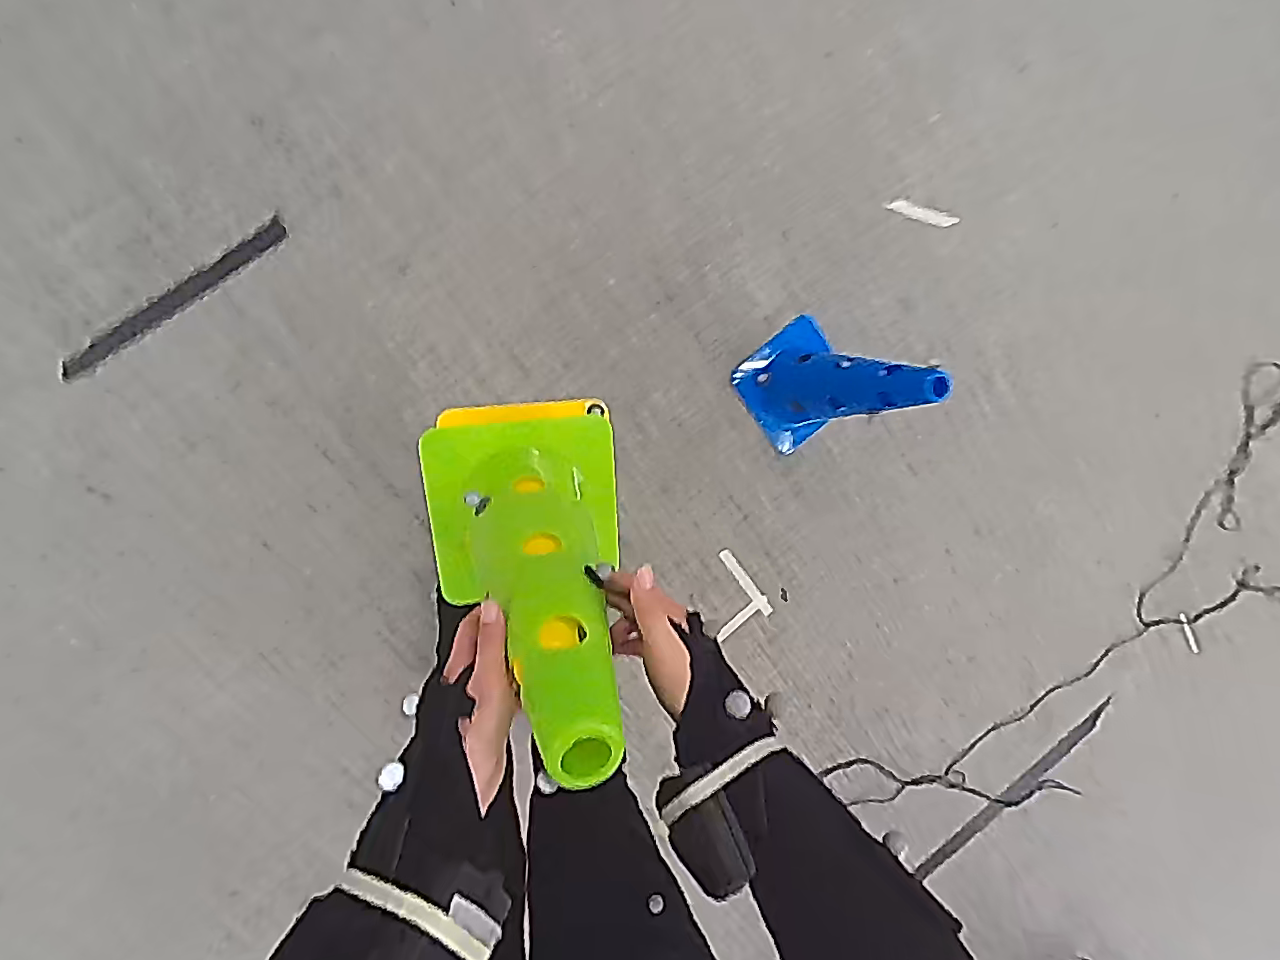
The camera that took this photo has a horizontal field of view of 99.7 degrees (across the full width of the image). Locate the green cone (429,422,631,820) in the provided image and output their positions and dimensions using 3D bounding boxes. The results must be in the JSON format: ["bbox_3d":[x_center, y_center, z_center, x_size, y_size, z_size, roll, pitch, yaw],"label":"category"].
[{"bbox_3d":[-0.066,0.088,0.417,0.202,0.368,0.200,-6,108,-13],"label":"green cone"}]
